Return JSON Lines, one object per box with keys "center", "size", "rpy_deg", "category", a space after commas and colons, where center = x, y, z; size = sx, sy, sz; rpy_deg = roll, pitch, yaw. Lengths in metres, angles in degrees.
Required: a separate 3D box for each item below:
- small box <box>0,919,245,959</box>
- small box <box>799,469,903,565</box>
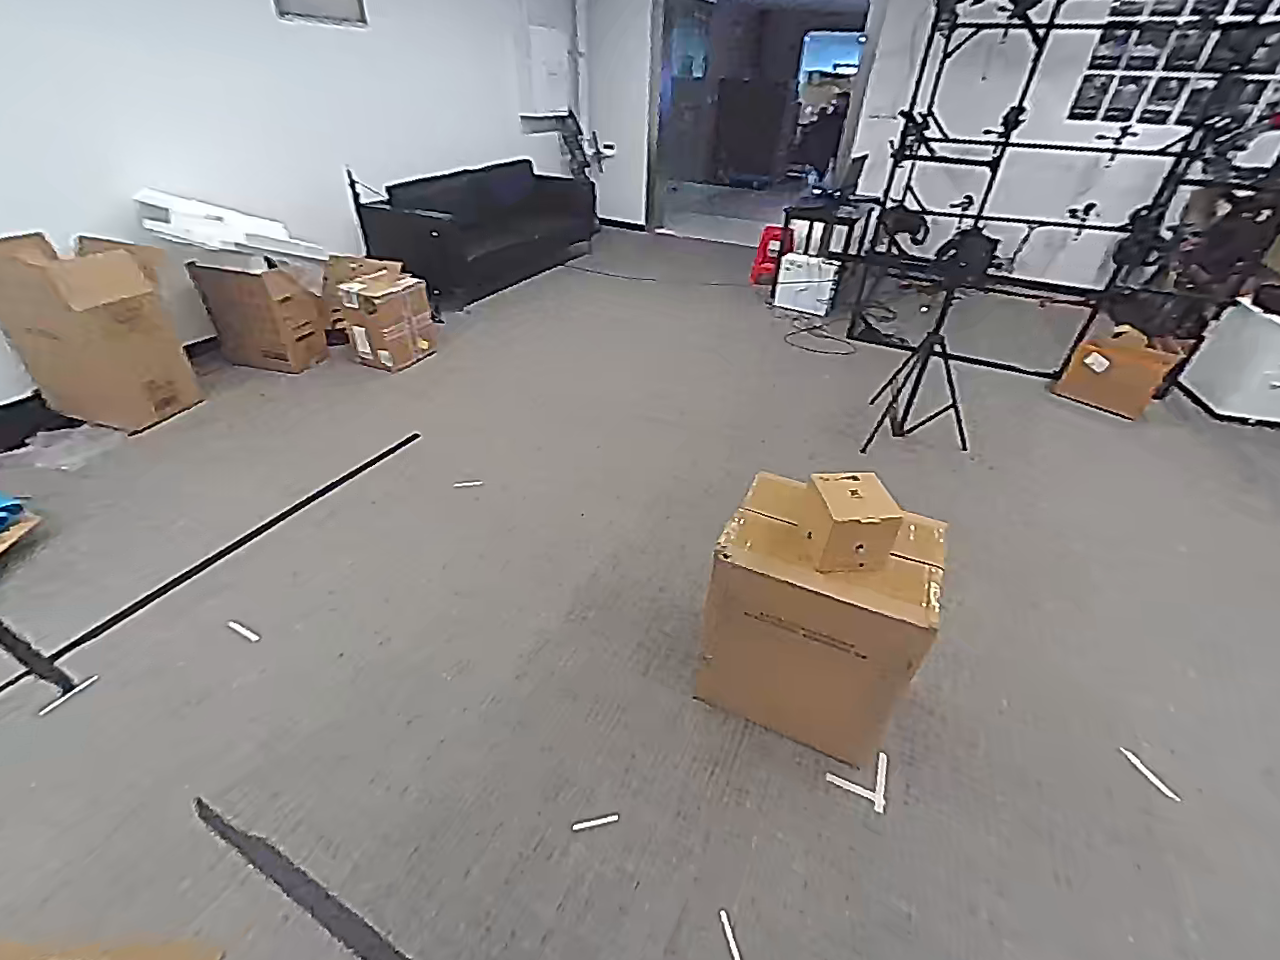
{"center": [-0.358, 0.362, 0.300], "size": [0.168, 0.179, 0.176], "rpy_deg": [20, 53, -18], "category": "small box"}
{"center": [0.503, 0.093, 1.313], "size": [0.168, 0.176, 0.179], "rpy_deg": [-2, 38, -4], "category": "small box"}
